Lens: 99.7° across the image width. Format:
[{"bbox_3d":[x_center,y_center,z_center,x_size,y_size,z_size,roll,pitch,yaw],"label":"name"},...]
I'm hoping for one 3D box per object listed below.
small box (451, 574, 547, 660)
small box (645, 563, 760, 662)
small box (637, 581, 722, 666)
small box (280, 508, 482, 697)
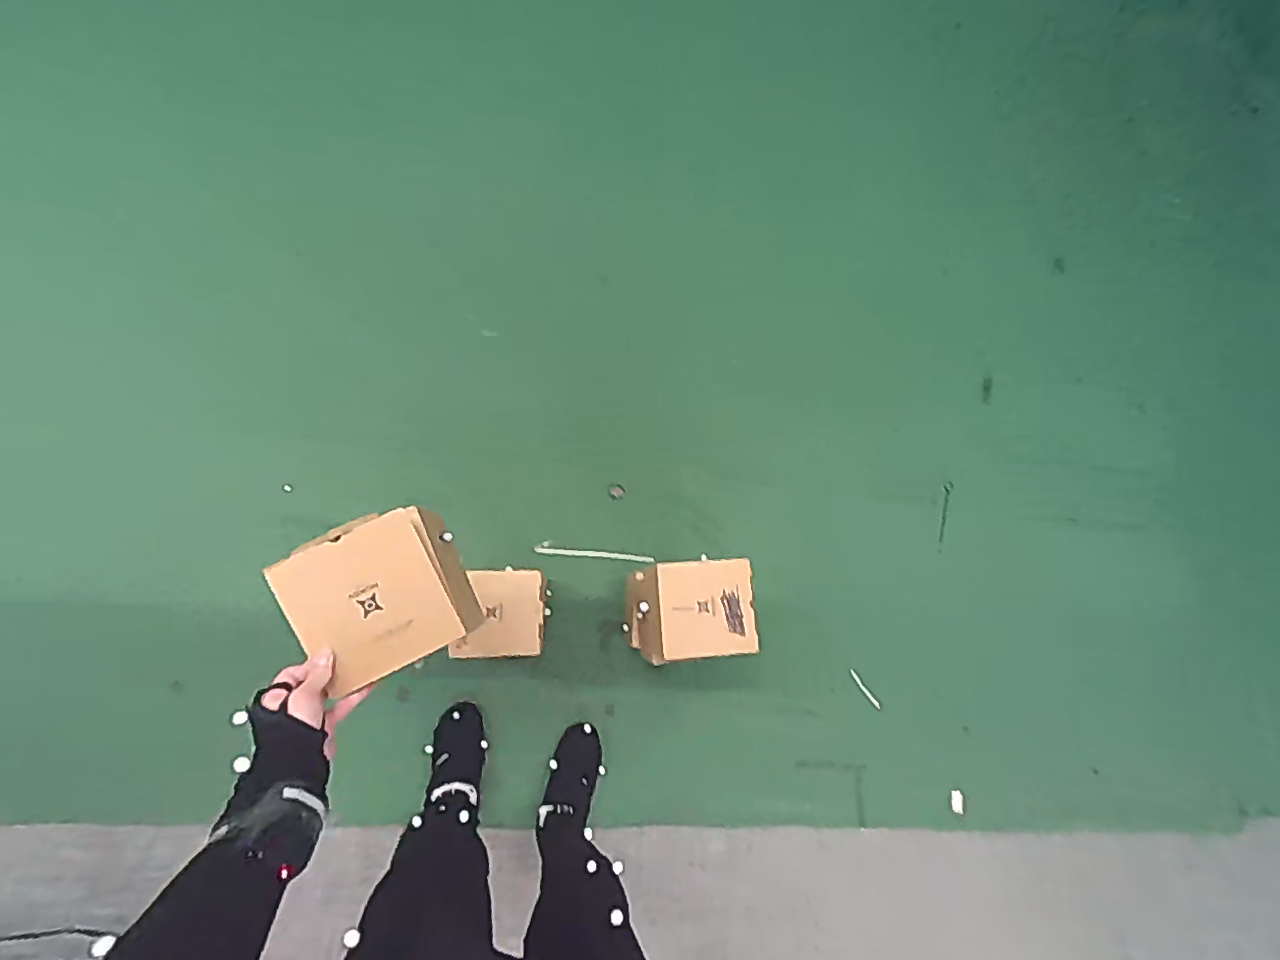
[{"bbox_3d":[-0.288,0.285,1.140,0.179,0.176,0.168,1,76,-8],"label":"small box"},{"bbox_3d":[0.111,0.248,1.032,0.179,0.176,0.168,-2,78,-8],"label":"small box"},{"bbox_3d":[0.091,0.301,1.187,0.168,0.176,0.179,-4,79,-8],"label":"small box"},{"bbox_3d":[-0.328,0.156,0.720,0.168,0.176,0.179,-24,85,-10],"label":"small box"}]
